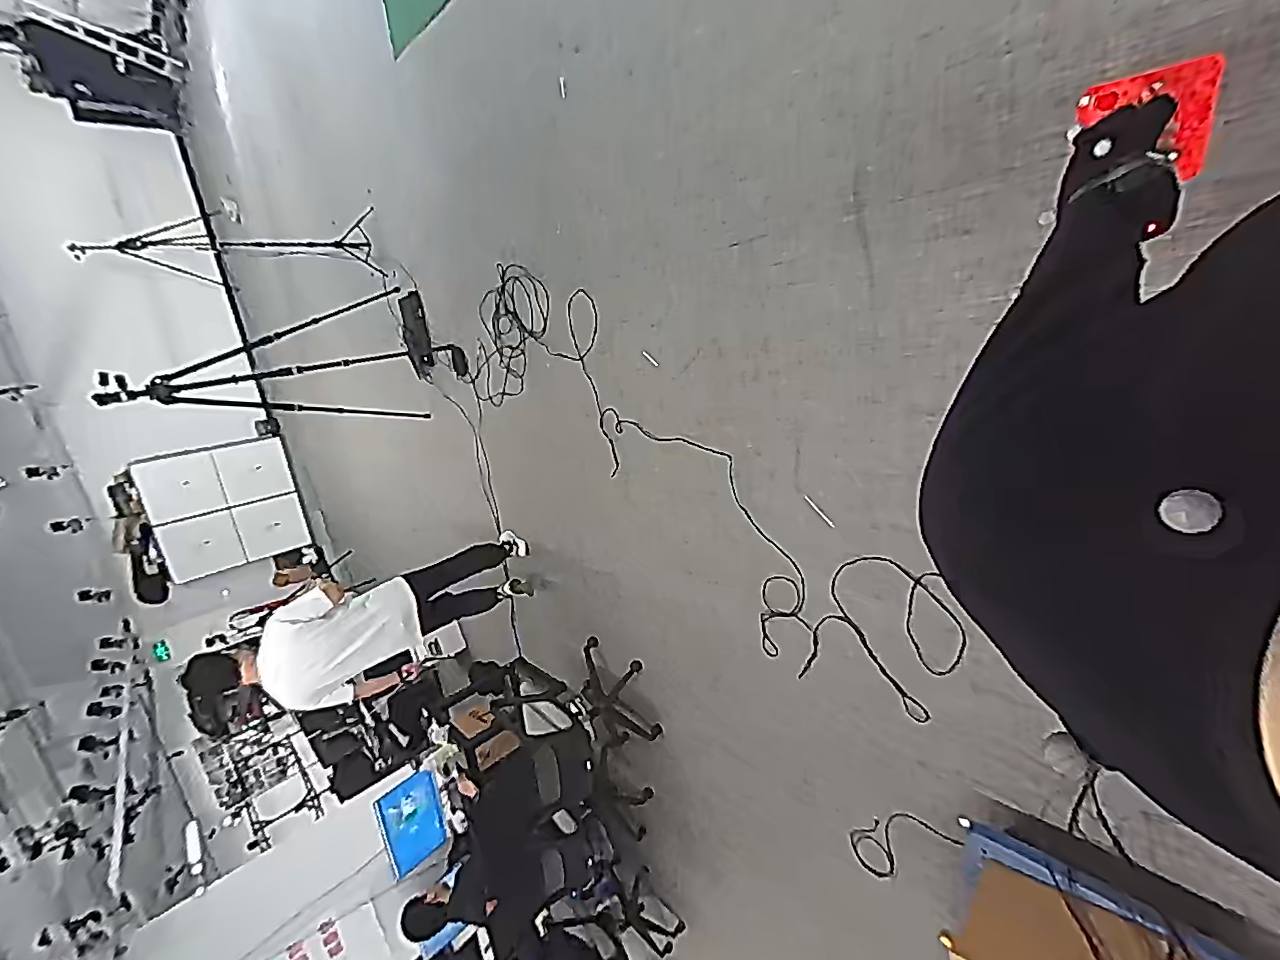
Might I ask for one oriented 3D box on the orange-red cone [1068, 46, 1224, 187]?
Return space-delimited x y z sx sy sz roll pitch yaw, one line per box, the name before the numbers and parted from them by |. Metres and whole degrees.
orange-red cone | 0.826 -0.632 0.913 0.198 0.360 0.199 14 115 44
